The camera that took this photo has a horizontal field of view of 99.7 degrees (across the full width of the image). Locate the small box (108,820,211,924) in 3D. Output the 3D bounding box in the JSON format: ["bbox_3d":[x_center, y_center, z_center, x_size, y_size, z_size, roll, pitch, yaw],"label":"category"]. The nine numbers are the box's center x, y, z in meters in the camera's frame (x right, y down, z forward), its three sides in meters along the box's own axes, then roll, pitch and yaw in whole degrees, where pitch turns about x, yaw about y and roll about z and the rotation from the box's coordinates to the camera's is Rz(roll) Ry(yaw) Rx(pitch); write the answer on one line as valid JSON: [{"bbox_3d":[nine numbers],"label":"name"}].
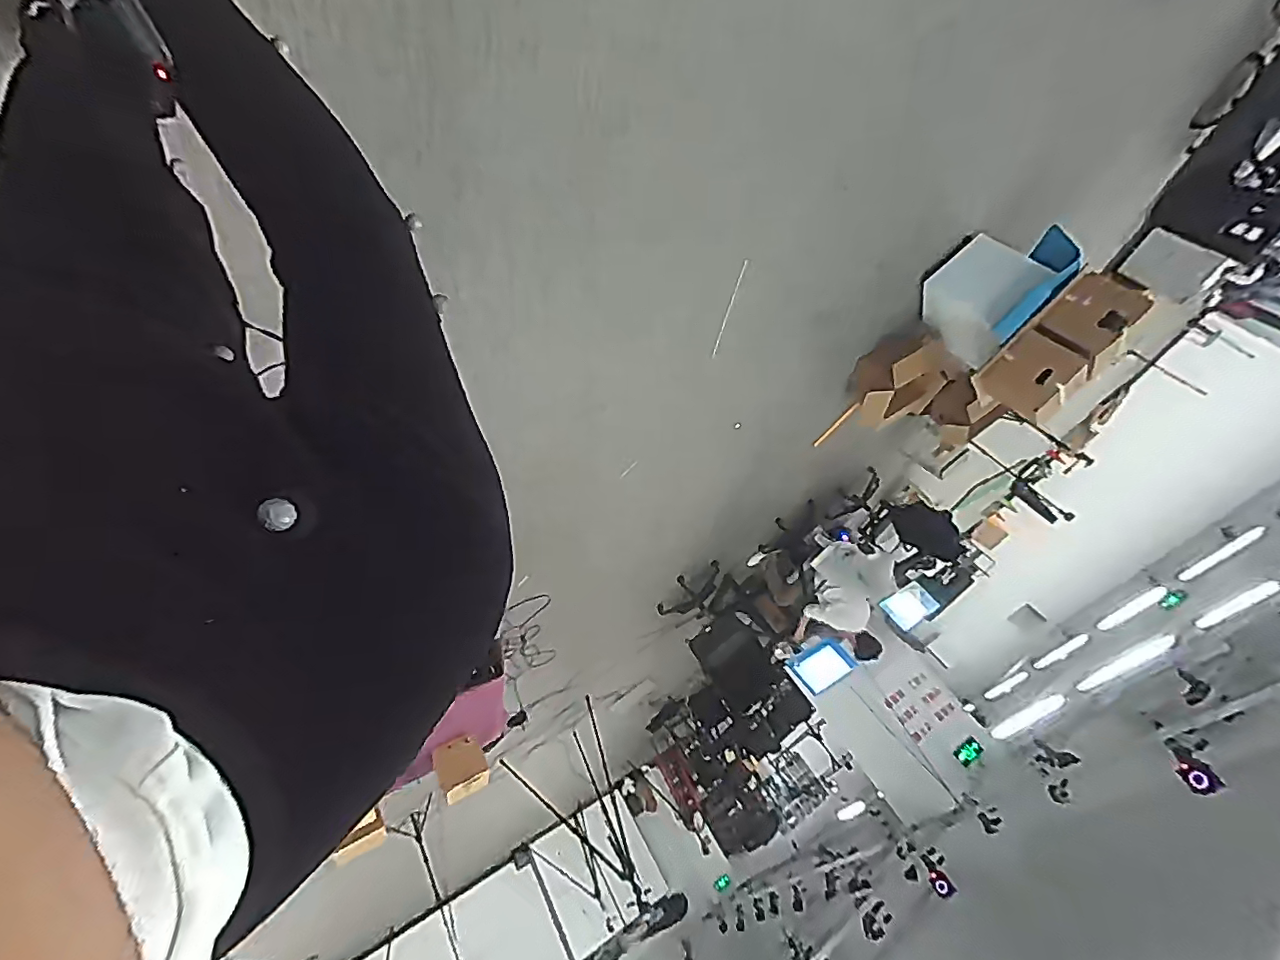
[{"bbox_3d":[-1.330,1.084,1.501,0.168,0.176,0.179,-20,147,-32],"label":"small box"}]

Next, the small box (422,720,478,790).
[{"bbox_3d":[-0.753,1.081,2.138,0.168,0.176,0.179,-17,144,-32],"label":"small box"}]

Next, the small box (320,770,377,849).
[{"bbox_3d":[-1.064,1.183,1.951,0.168,0.176,0.179,-17,144,-34],"label":"small box"}]

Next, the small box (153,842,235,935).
[{"bbox_3d":[-1.414,1.289,1.712,0.168,0.176,0.179,-18,146,-33],"label":"small box"}]
